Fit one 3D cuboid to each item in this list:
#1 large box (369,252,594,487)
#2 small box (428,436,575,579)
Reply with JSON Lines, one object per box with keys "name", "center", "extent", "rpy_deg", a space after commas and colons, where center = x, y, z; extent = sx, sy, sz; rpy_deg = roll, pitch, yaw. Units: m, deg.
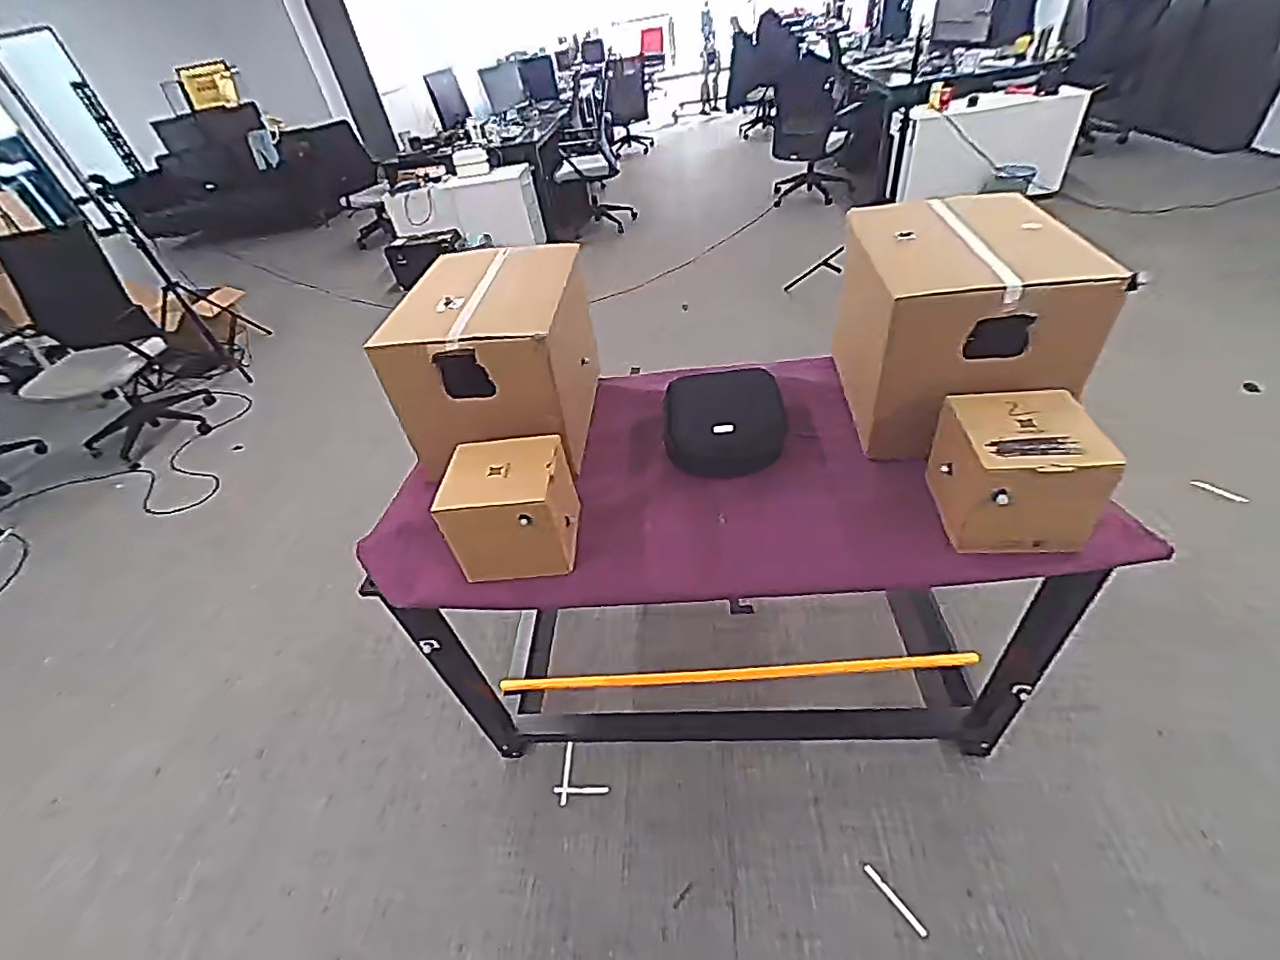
{"name": "large box", "center": [-0.280, -0.235, 1.122], "extent": [0.320, 0.320, 0.408], "rpy_deg": [-3, 44, 6]}
{"name": "small box", "center": [-0.216, 0.049, 0.897], "extent": [0.179, 0.176, 0.168], "rpy_deg": [-6, 40, 4]}
